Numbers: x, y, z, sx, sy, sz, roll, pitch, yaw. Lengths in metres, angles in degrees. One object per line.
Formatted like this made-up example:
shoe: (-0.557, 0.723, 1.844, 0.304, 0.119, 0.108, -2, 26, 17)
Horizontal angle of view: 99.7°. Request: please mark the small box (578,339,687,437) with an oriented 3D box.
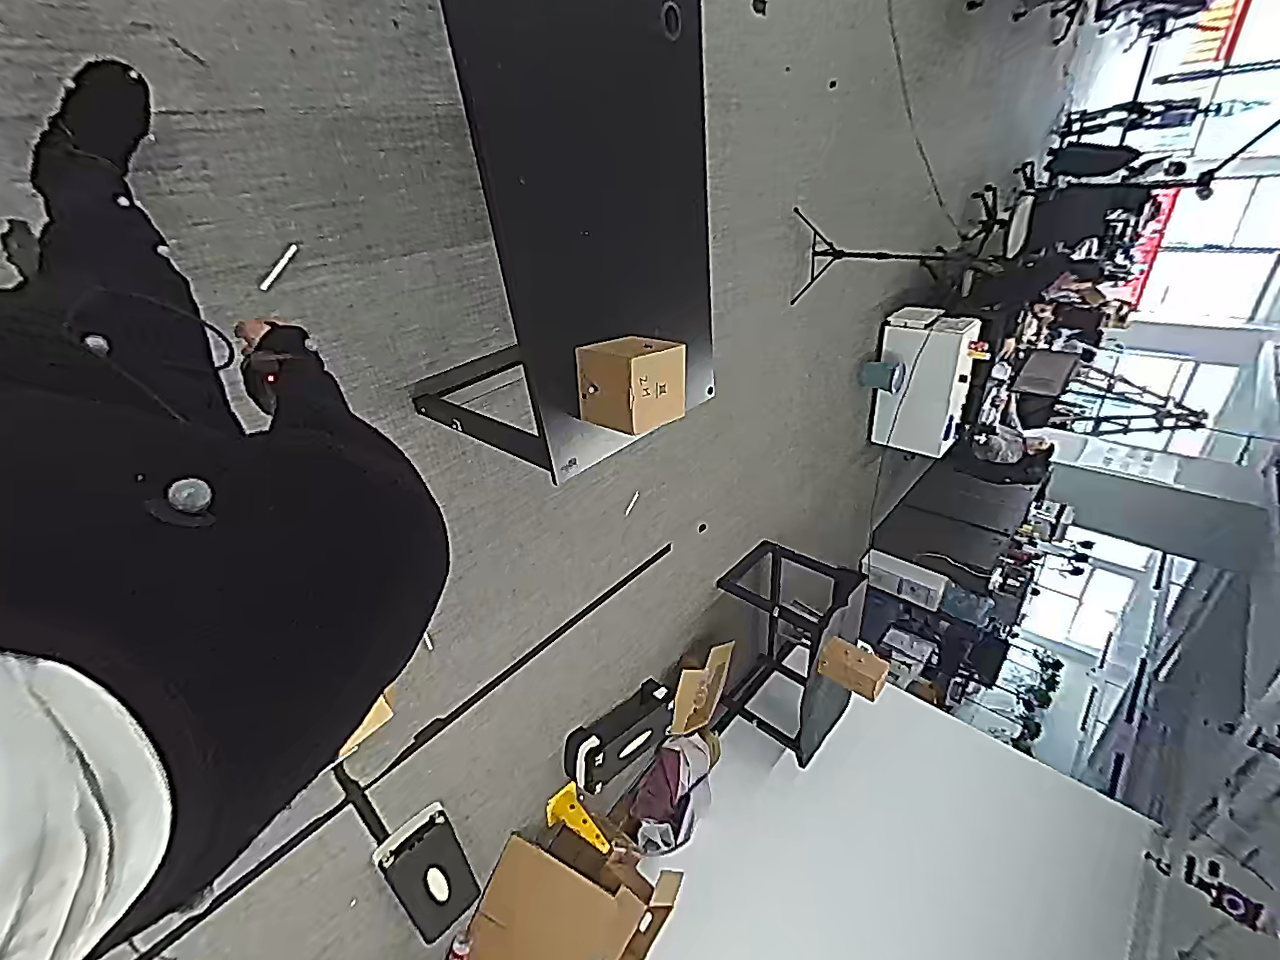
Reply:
small box: (-0.016, -0.211, 1.195, 0.179, 0.176, 0.168, -25, 124, -41)
